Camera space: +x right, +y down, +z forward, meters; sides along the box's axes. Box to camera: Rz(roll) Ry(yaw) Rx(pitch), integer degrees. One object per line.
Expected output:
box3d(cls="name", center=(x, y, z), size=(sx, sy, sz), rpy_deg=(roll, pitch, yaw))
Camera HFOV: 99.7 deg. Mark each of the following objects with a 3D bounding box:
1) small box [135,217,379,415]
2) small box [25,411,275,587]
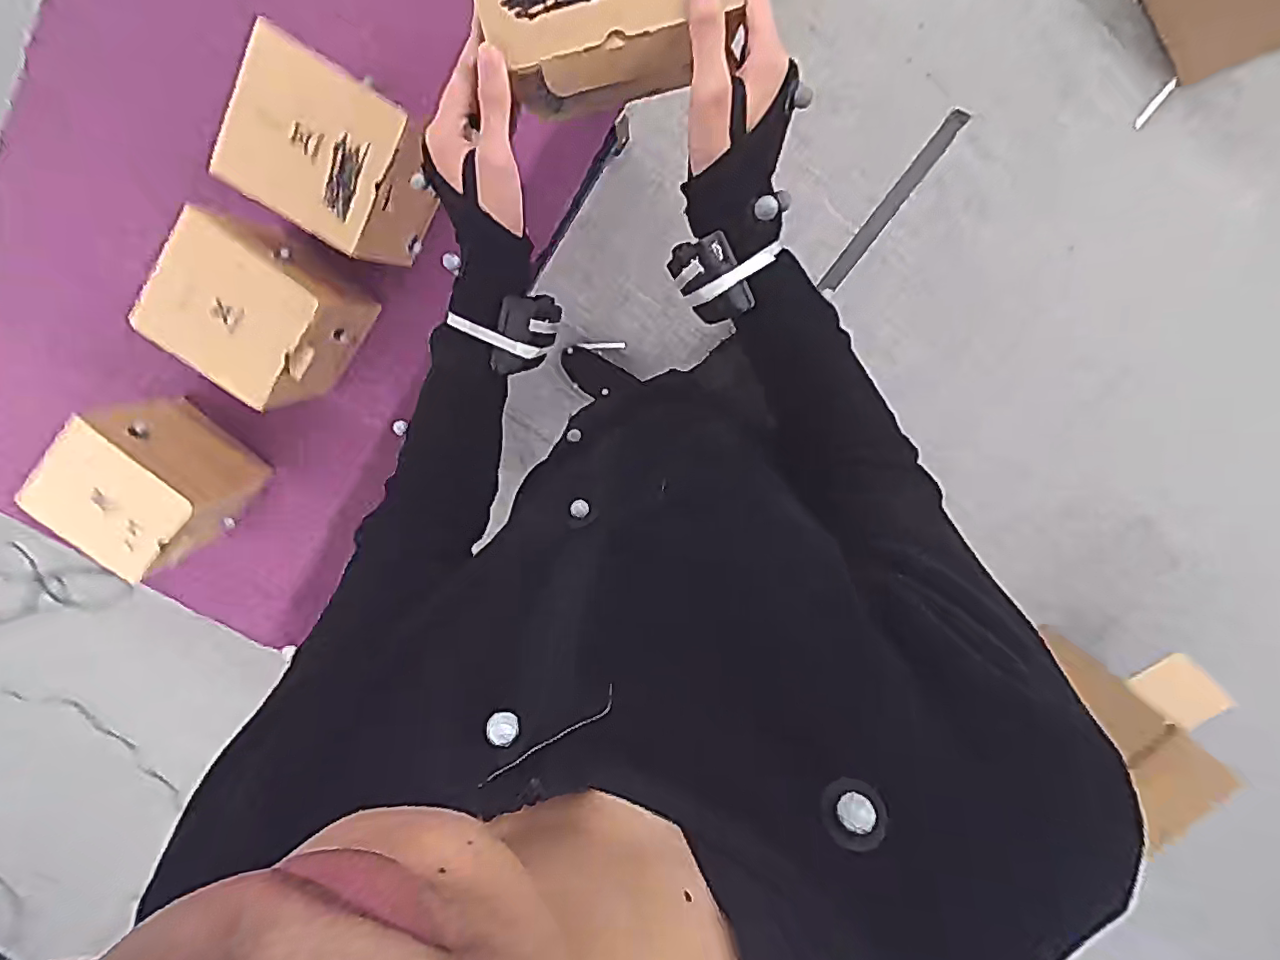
box3d(cls="small box", center=(-0.491, -0.215, 0.724), size=(0.179, 0.176, 0.168), rpy_deg=(37, 103, -11))
box3d(cls="small box", center=(-0.698, 0.016, 0.793), size=(0.179, 0.176, 0.168), rpy_deg=(43, 103, -13))
